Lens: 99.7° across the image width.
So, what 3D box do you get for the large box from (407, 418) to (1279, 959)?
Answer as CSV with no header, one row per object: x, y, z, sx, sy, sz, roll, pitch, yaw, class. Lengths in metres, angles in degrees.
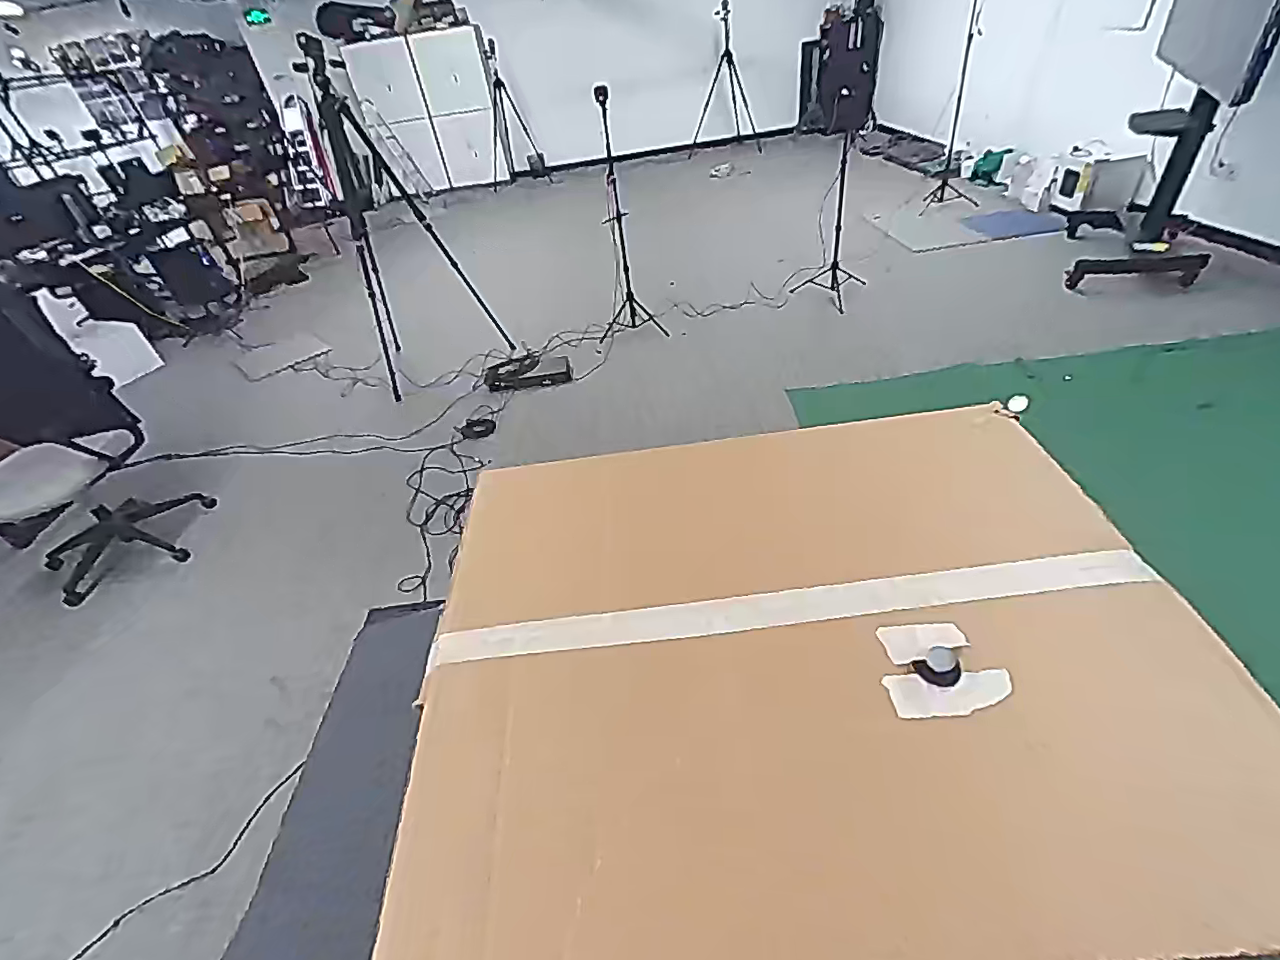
0.100,0.188,0.431,0.408,0.320,0.320,-7,46,3,large box
